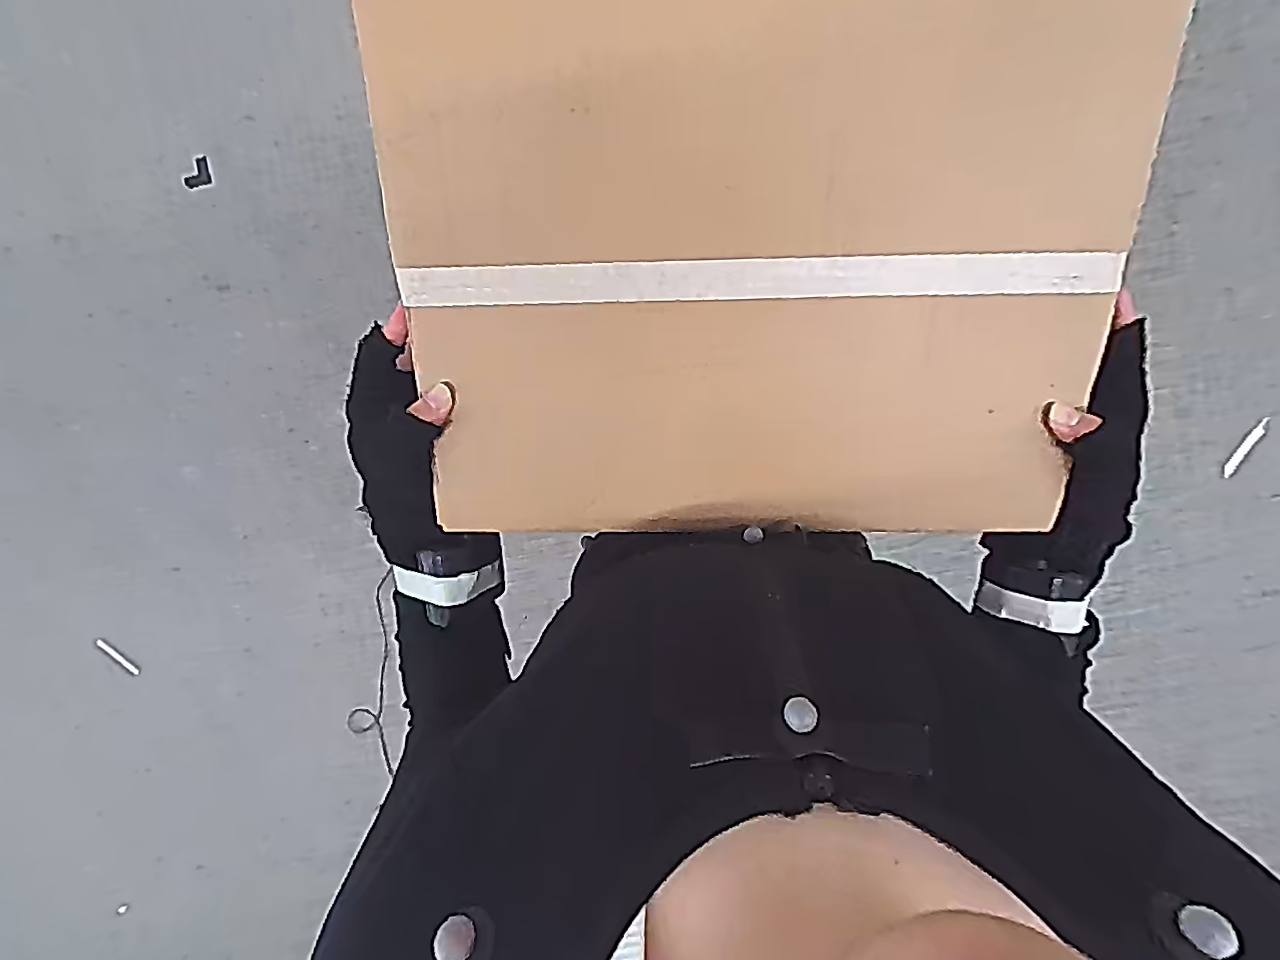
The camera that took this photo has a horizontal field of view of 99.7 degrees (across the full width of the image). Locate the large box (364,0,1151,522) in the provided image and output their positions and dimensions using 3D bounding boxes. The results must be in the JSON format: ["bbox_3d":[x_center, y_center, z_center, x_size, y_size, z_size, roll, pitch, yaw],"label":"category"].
[{"bbox_3d":[0.062,-0.169,0.457,0.408,0.320,0.320,-1,111,1],"label":"large box"}]
